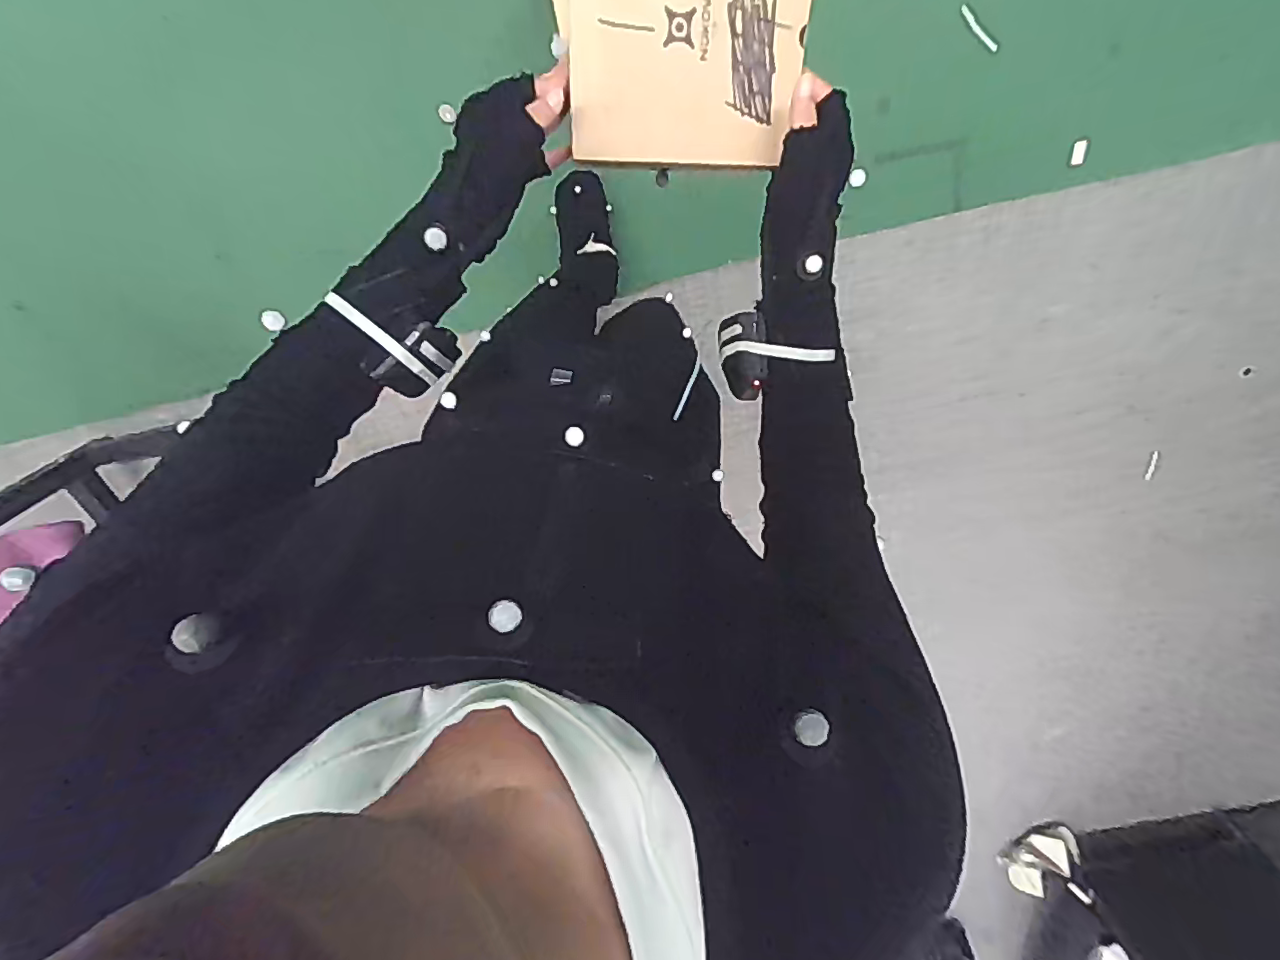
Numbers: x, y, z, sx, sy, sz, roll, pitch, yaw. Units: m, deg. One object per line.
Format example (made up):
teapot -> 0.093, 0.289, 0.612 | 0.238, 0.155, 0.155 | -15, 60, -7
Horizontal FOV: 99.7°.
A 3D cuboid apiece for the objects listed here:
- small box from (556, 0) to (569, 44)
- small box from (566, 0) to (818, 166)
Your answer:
small box -> -0.048, -0.780, 0.824 | 0.179, 0.176, 0.168 | -12, 122, 2
small box -> 0.031, -0.362, 0.445 | 0.179, 0.176, 0.168 | 2, 117, -6
